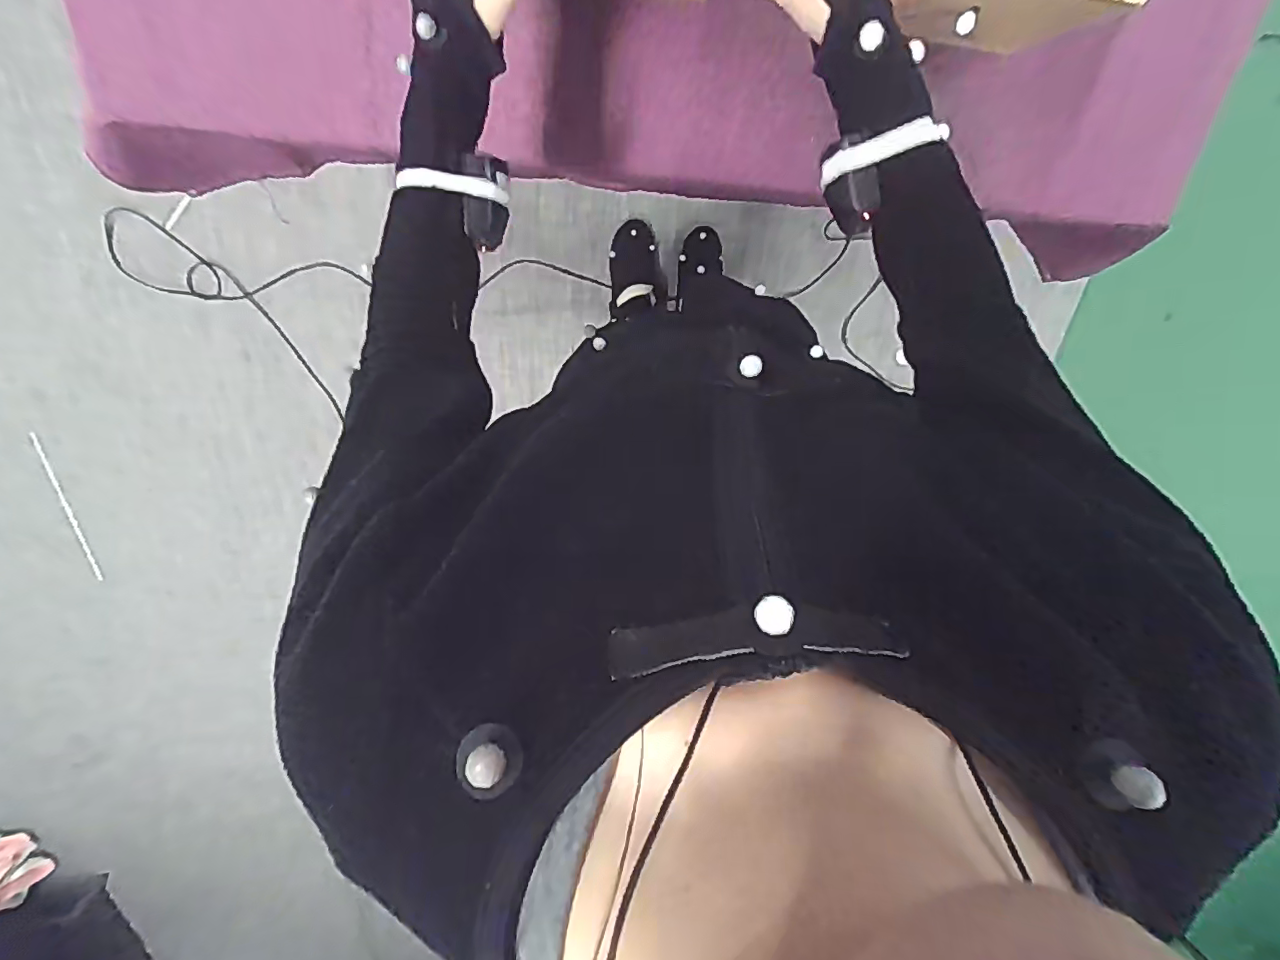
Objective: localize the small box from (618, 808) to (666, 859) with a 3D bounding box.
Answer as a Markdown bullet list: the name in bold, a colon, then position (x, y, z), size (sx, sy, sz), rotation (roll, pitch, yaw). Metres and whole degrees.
- **small box**: position (0.003, 1.523, 2.274), size (0.168, 0.176, 0.179), rotation (10, 115, -10)

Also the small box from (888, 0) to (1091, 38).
- **small box**: position (0.330, -0.507, 0.453), size (0.168, 0.176, 0.179), rotation (5, 116, -6)

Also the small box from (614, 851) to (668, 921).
- **small box**: position (-0.001, 1.591, 2.124), size (0.179, 0.176, 0.168), rotation (10, 115, -10)
